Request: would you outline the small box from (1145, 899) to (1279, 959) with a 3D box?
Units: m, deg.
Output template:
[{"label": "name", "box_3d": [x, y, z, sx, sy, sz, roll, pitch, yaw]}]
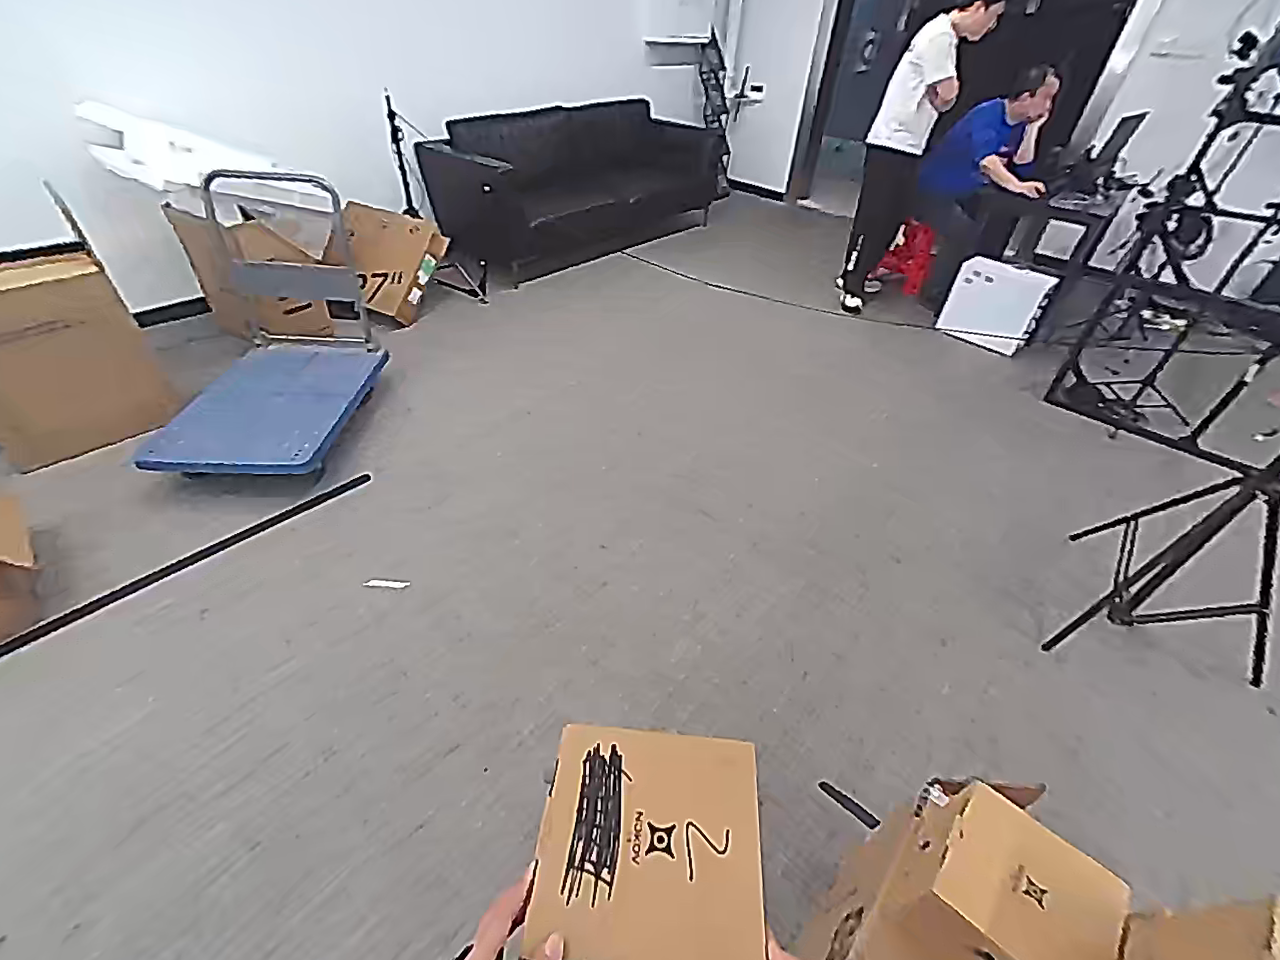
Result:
[{"label": "small box", "box_3d": [0.575, 0.508, 0.456, 0.168, 0.176, 0.179, -33, 54, -33]}]

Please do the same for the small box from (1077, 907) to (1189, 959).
[{"label": "small box", "box_3d": [0.588, 0.619, 0.579, 0.168, 0.176, 0.179, -30, 53, -30]}]
